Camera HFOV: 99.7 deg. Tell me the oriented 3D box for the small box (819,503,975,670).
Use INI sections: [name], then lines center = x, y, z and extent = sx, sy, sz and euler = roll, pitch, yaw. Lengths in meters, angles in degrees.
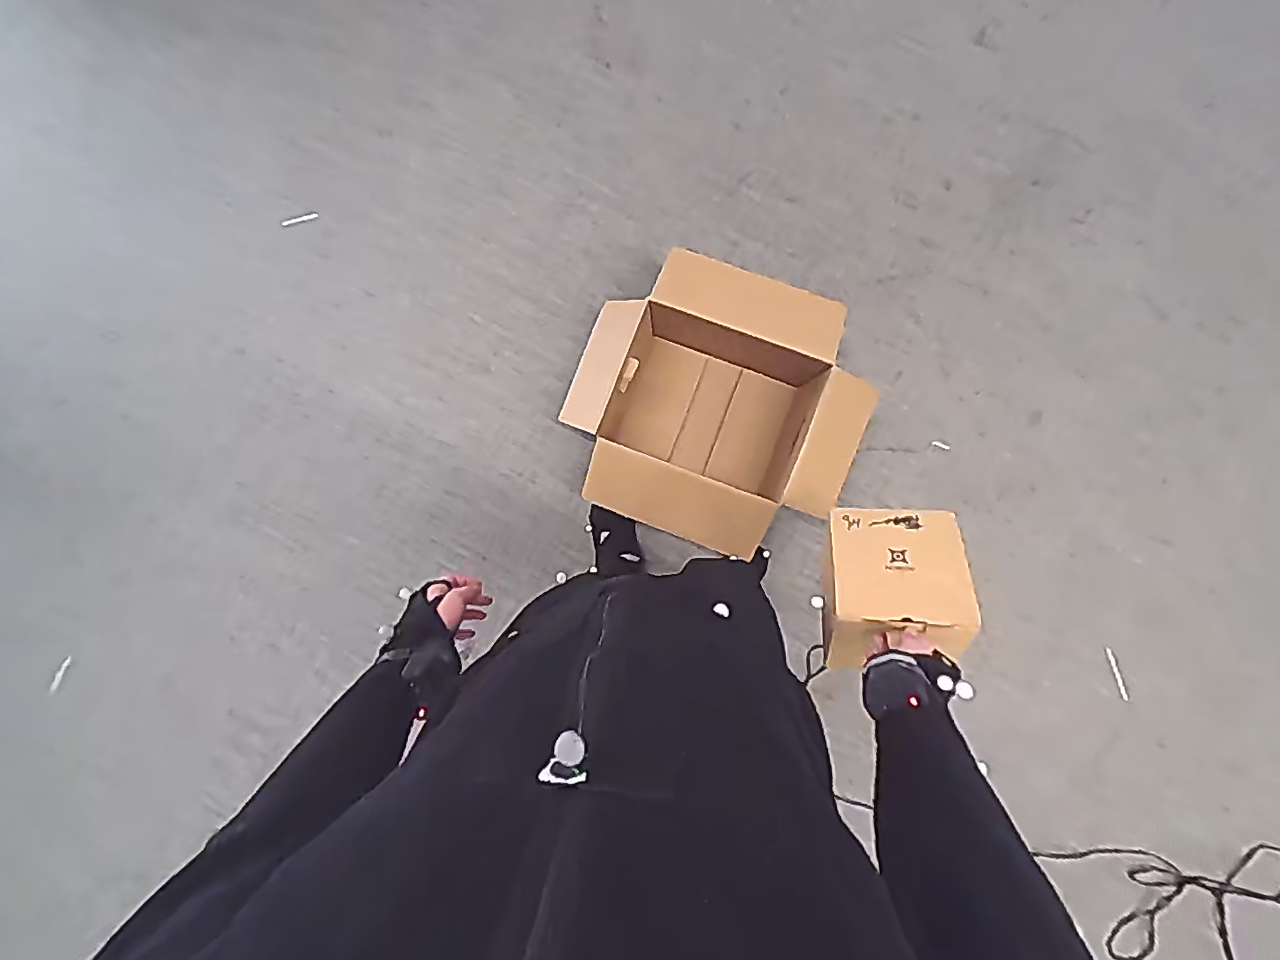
[small box]
center = 0.349, 0.153, 0.769
extent = 0.168, 0.176, 0.179
euler = 2, 51, 14
